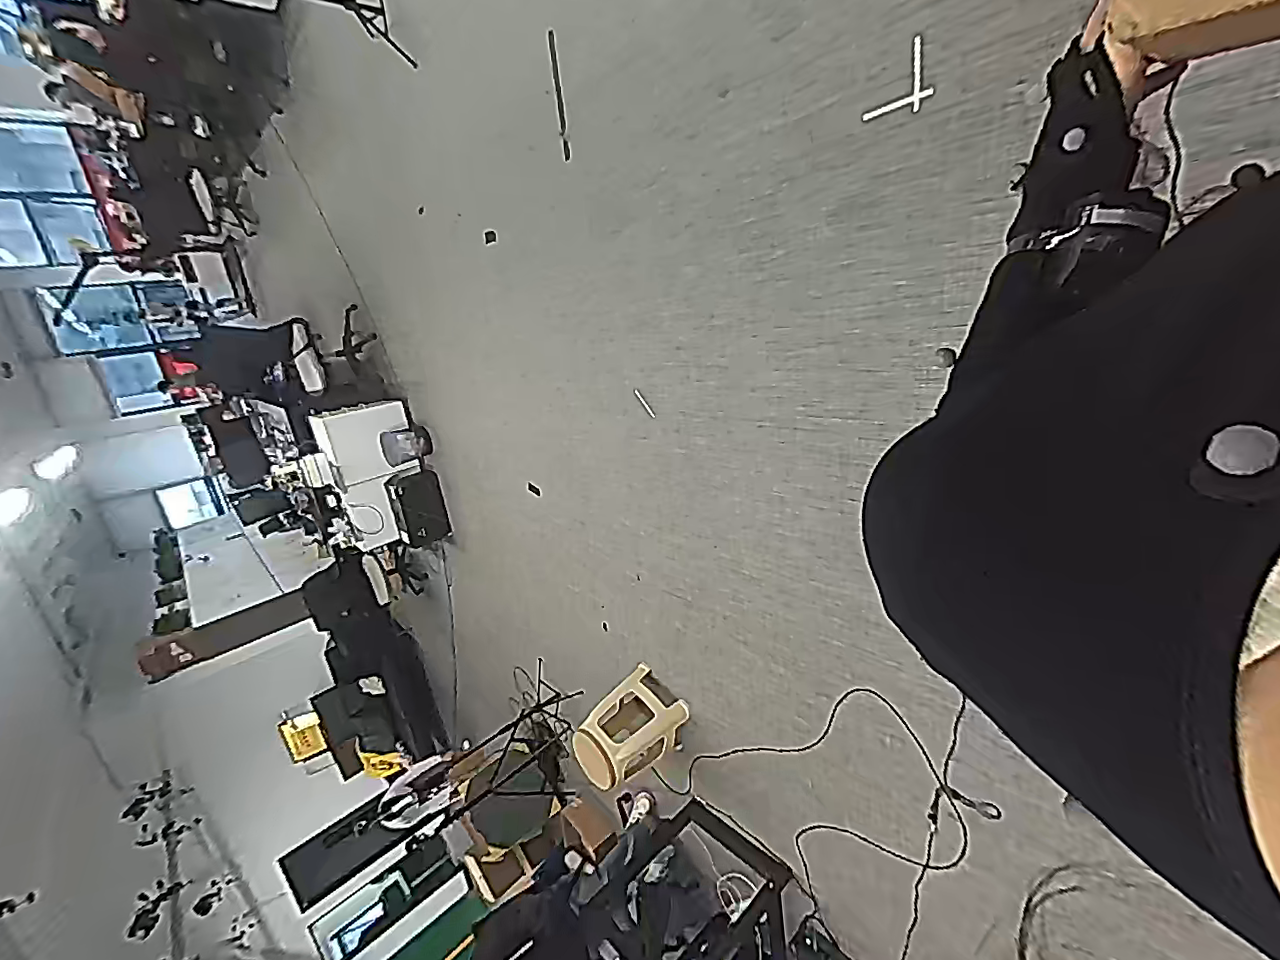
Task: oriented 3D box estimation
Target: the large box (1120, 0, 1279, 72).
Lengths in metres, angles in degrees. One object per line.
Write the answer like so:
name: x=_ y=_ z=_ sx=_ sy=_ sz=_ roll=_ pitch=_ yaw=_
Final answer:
large box: x=0.408 y=-0.350 z=0.125 sx=0.408 sy=0.320 sz=0.320 roll=12 pitch=125 yaw=41
